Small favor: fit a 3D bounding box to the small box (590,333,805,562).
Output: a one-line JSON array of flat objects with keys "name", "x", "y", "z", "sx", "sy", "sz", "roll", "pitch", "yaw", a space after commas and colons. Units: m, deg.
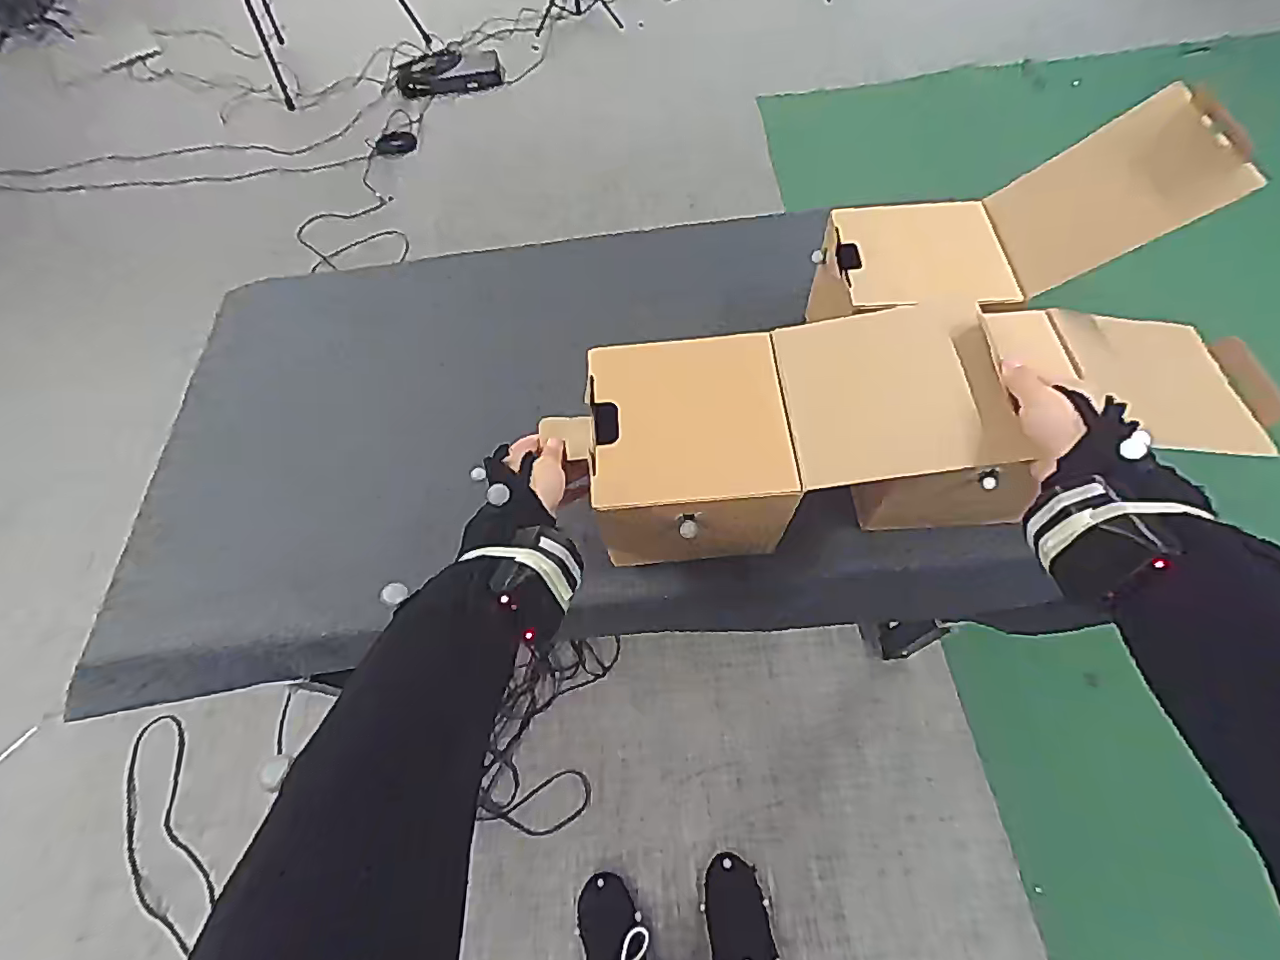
[{"name": "small box", "x": 0.050, "y": -0.022, "z": 0.540, "sx": 0.179, "sy": 0.176, "sz": 0.168, "roll": -5, "pitch": 65, "yaw": 4}]
